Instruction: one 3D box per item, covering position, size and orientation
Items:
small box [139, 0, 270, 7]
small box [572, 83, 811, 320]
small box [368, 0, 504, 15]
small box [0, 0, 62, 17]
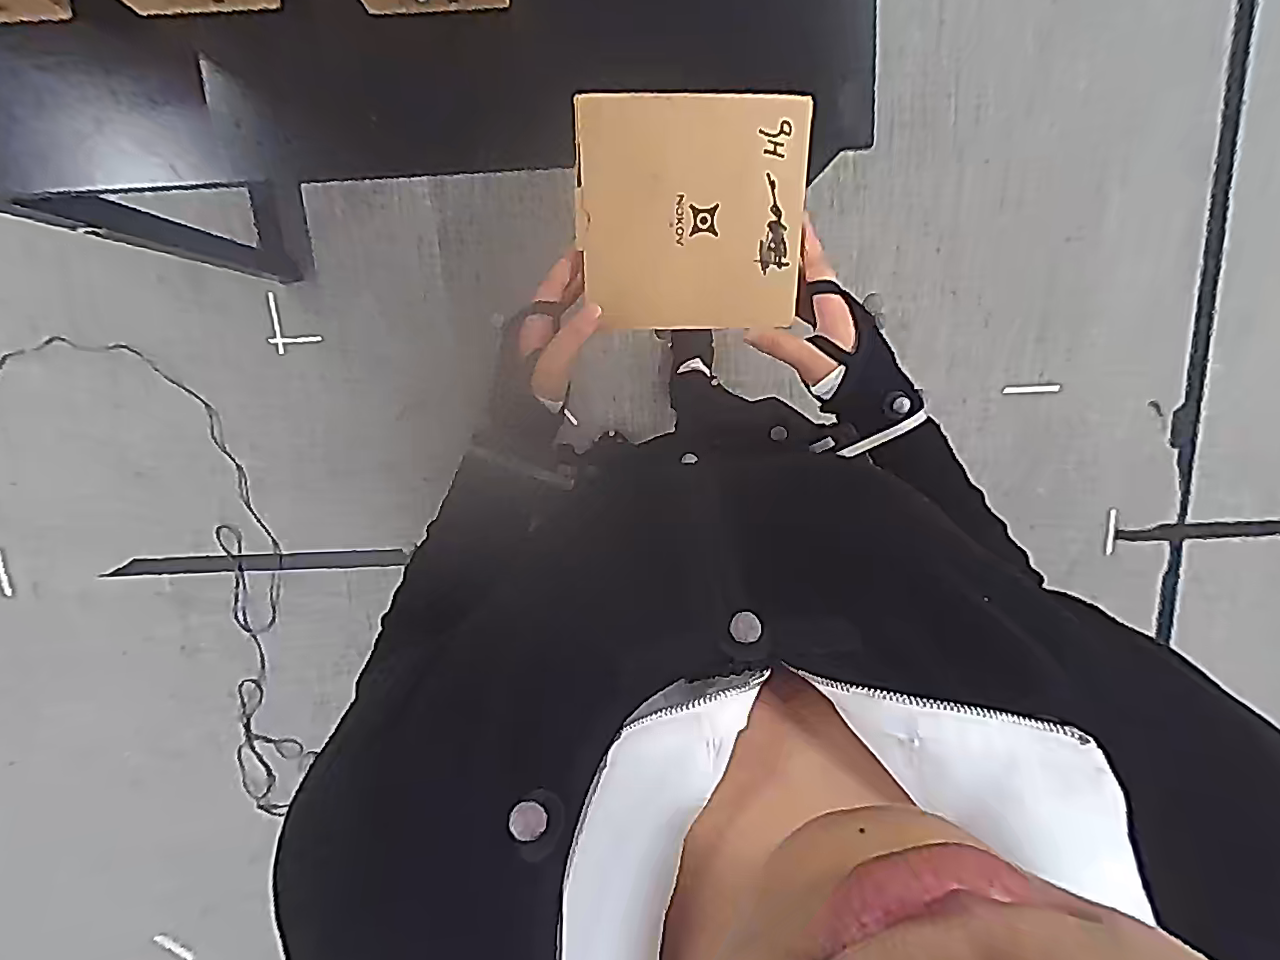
[{"bbox_3d":[-0.503,-0.611,0.532,0.168,0.176,0.179,-3,101,-1],"label":"small box"},{"bbox_3d":[0.035,-0.233,0.492,0.179,0.176,0.168,-1,109,-3],"label":"small box"},{"bbox_3d":[-0.238,-0.615,0.537,0.168,0.176,0.179,-3,102,0],"label":"small box"},{"bbox_3d":[-0.743,-0.598,0.531,0.168,0.176,0.179,-4,100,-2],"label":"small box"}]
